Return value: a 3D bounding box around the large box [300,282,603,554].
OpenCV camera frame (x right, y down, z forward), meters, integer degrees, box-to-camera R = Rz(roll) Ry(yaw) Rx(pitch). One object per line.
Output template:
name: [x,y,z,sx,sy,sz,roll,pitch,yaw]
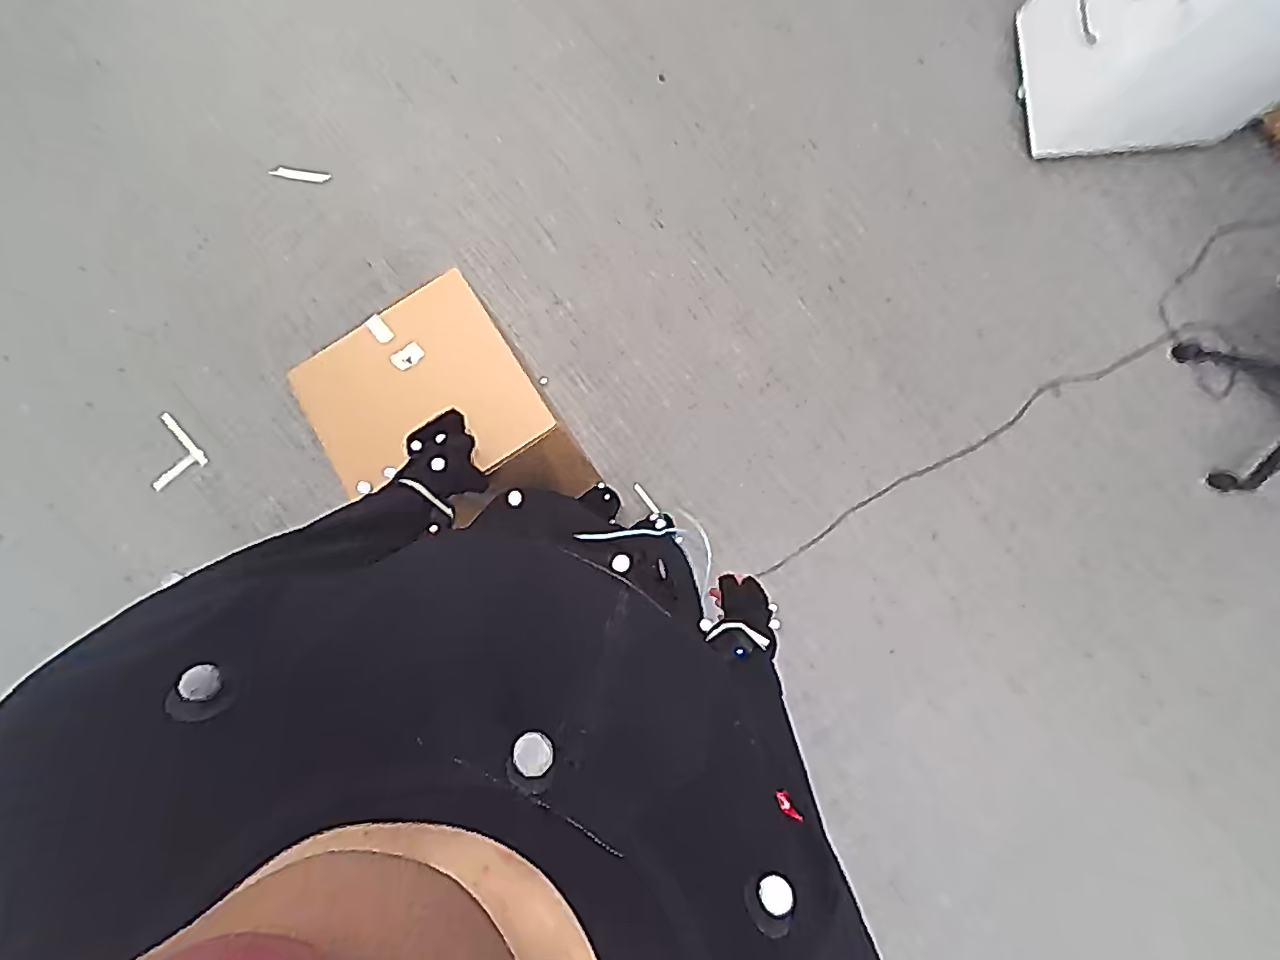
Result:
large box: [-0.306,-0.080,0.999,0.320,0.408,0.320,-33,79,-1]
